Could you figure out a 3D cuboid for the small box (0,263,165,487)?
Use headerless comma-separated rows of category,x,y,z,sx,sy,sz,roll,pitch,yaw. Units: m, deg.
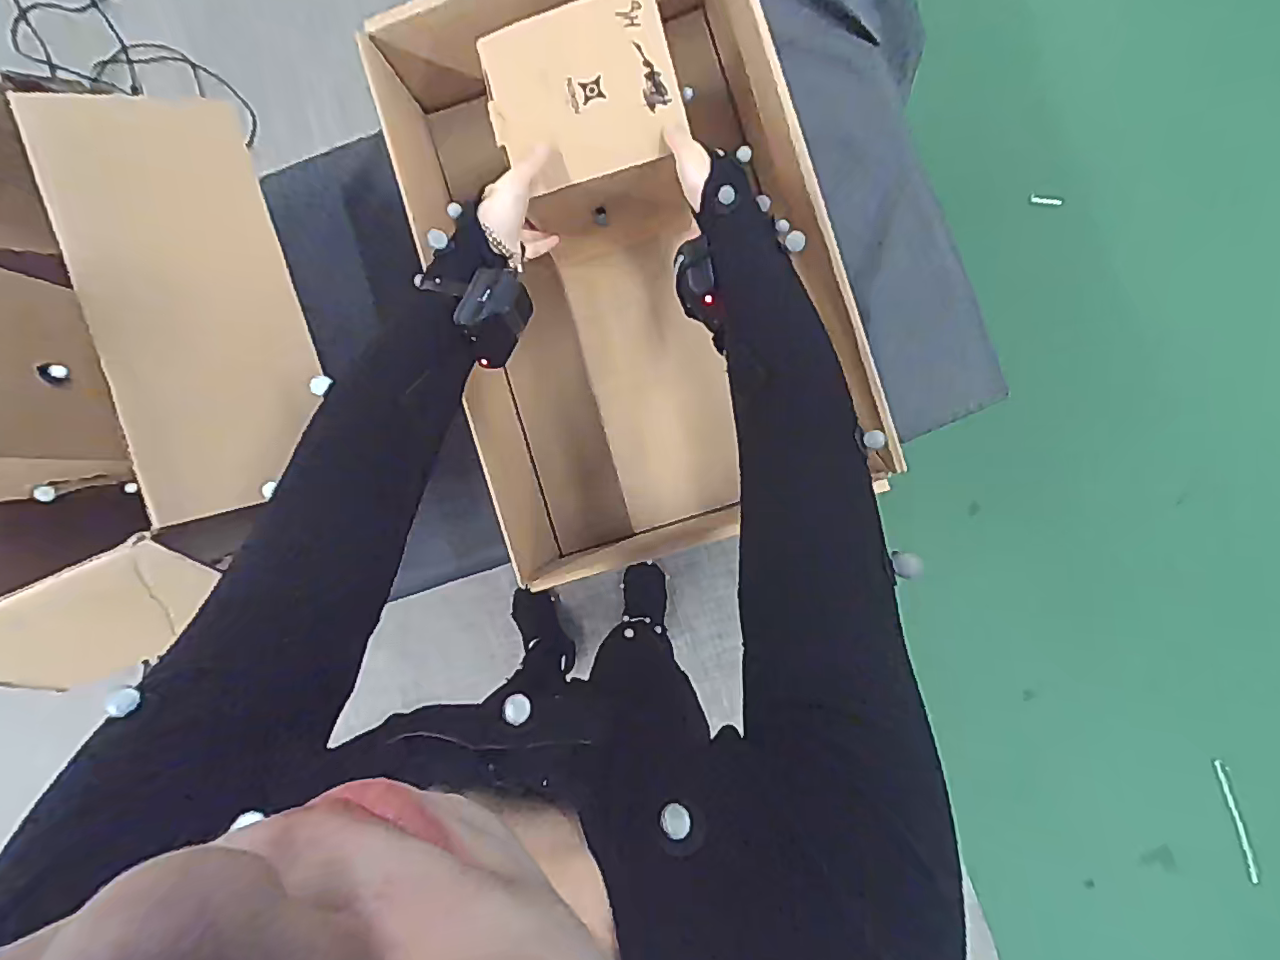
small box,-0.608,-0.090,0.503,0.168,0.176,0.179,-15,92,4
